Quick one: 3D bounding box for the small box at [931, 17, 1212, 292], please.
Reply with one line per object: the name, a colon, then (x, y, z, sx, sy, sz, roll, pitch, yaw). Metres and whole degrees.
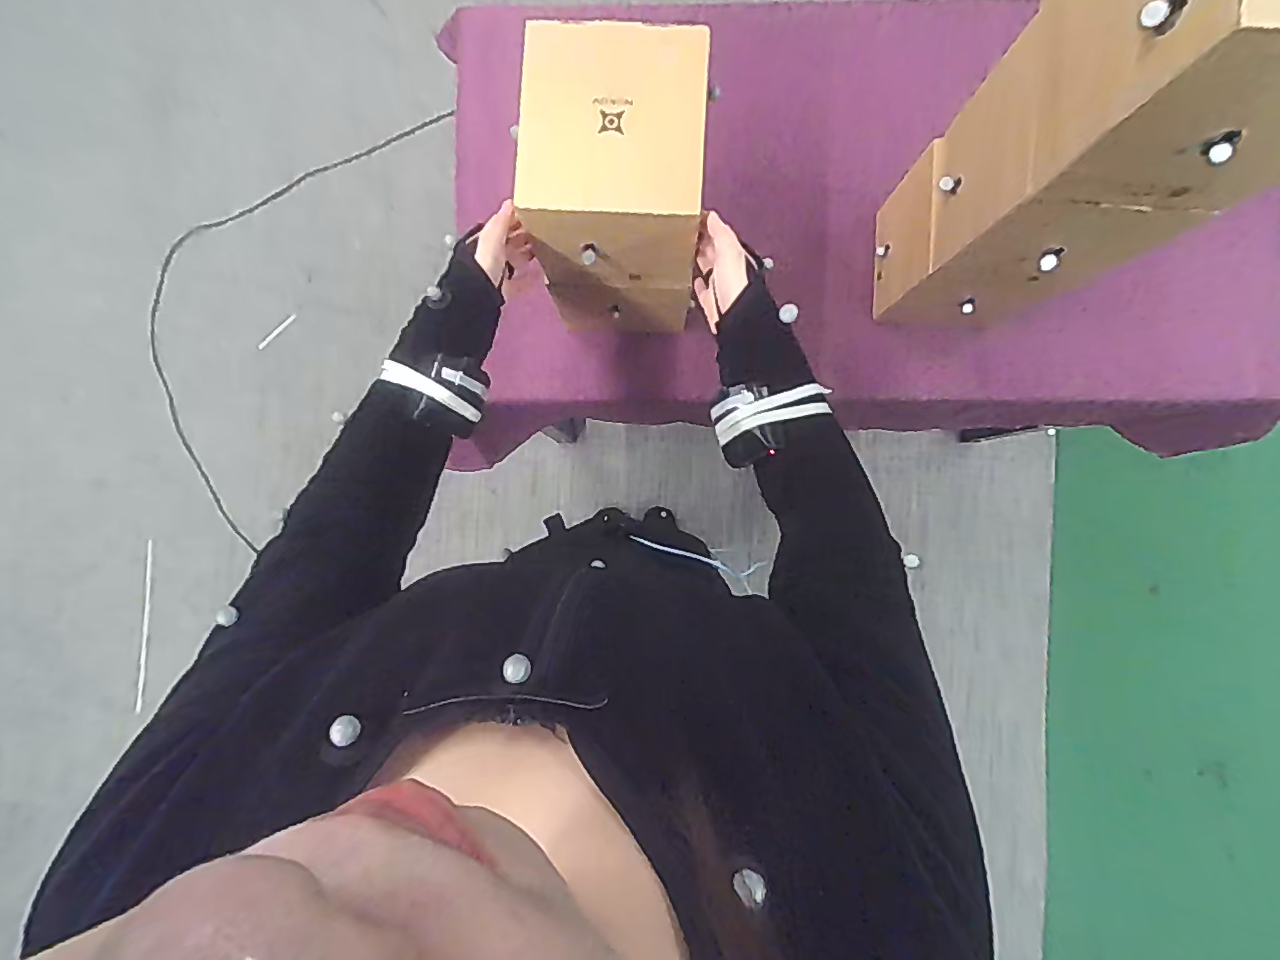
small box: (0.423, -0.309, 0.550, 0.168, 0.176, 0.179, 7, 88, 1)

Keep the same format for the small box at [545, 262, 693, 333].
small box: (-0.022, -0.302, 0.720, 0.179, 0.176, 0.168, 2, 87, 2)

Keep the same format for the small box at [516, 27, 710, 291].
small box: (-0.021, -0.312, 0.558, 0.168, 0.176, 0.179, 3, 87, 1)
